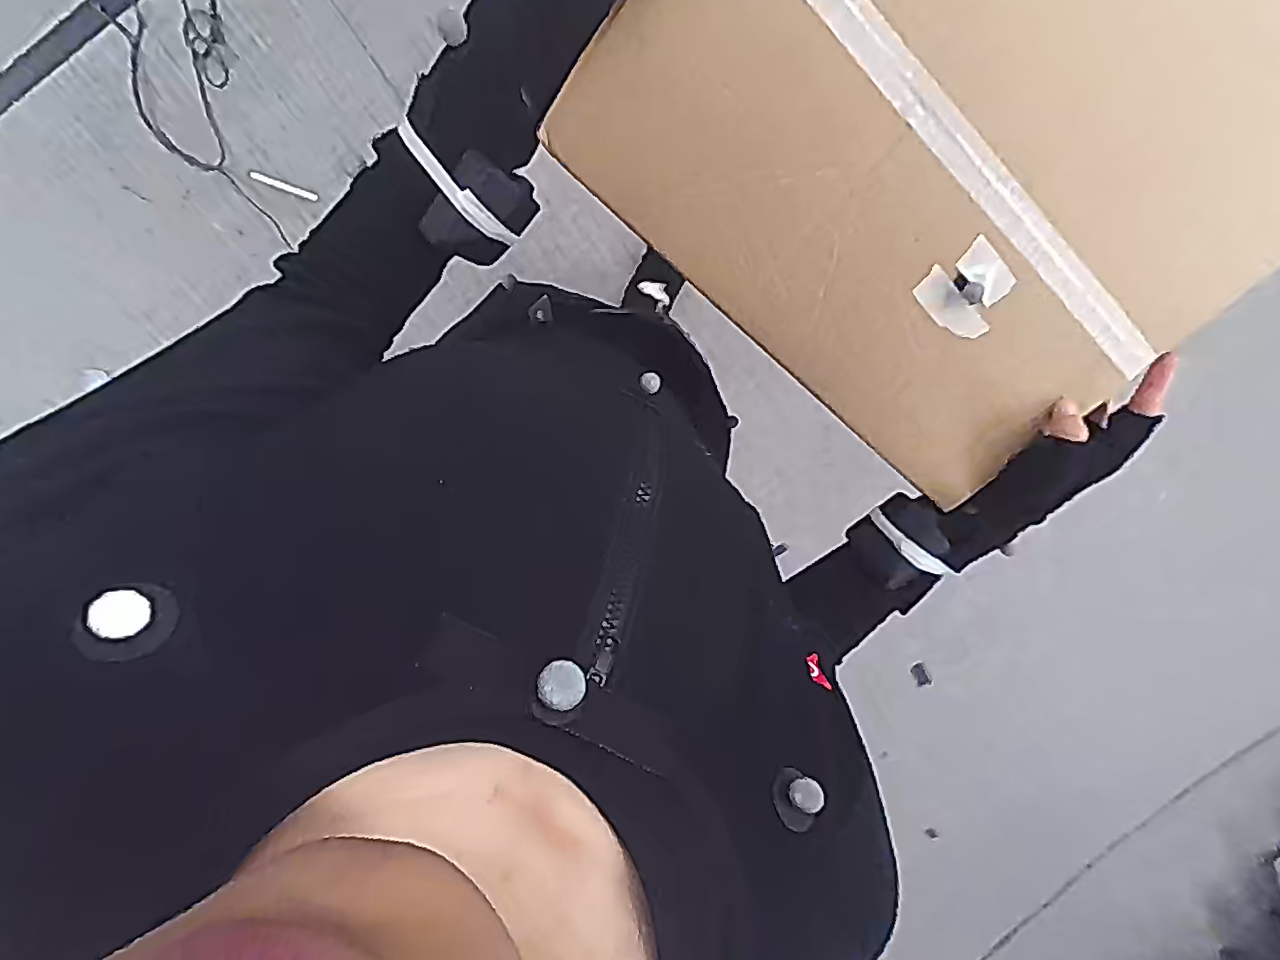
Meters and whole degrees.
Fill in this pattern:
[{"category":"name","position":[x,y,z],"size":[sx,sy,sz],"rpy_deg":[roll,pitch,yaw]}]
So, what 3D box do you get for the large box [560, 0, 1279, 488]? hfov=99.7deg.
[{"category":"large box","position":[0.199,-0.275,0.461],"size":[0.408,0.320,0.320],"rpy_deg":[37,116,-17]}]
